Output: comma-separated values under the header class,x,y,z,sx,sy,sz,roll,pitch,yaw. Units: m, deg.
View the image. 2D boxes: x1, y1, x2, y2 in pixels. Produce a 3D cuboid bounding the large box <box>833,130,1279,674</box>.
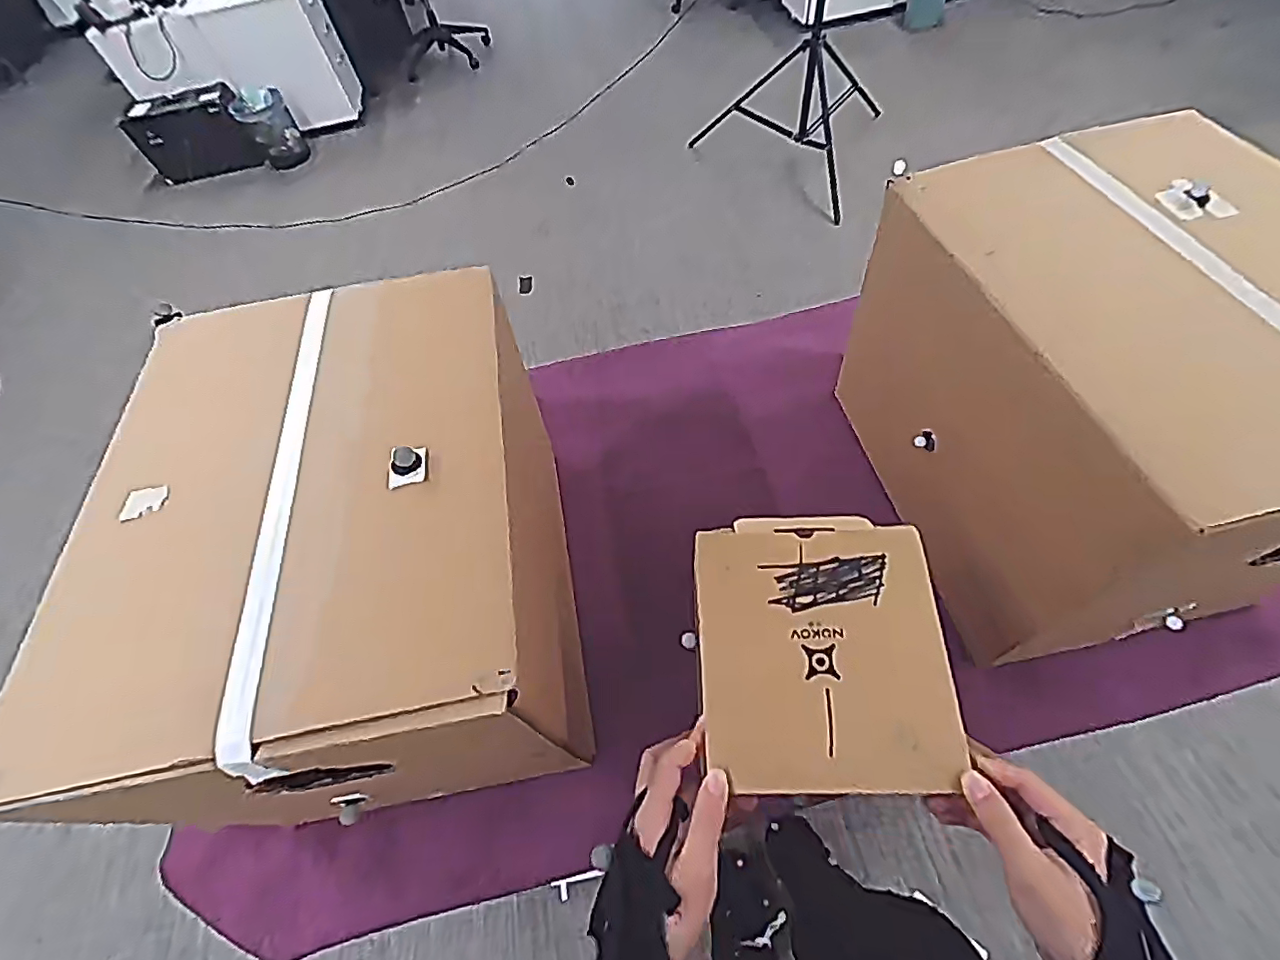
class,x,y,z,sx,sy,sz,roll,pitch,yaw
large box,0.440,-0.073,0.548,0.320,0.320,0.408,-13,55,-1
